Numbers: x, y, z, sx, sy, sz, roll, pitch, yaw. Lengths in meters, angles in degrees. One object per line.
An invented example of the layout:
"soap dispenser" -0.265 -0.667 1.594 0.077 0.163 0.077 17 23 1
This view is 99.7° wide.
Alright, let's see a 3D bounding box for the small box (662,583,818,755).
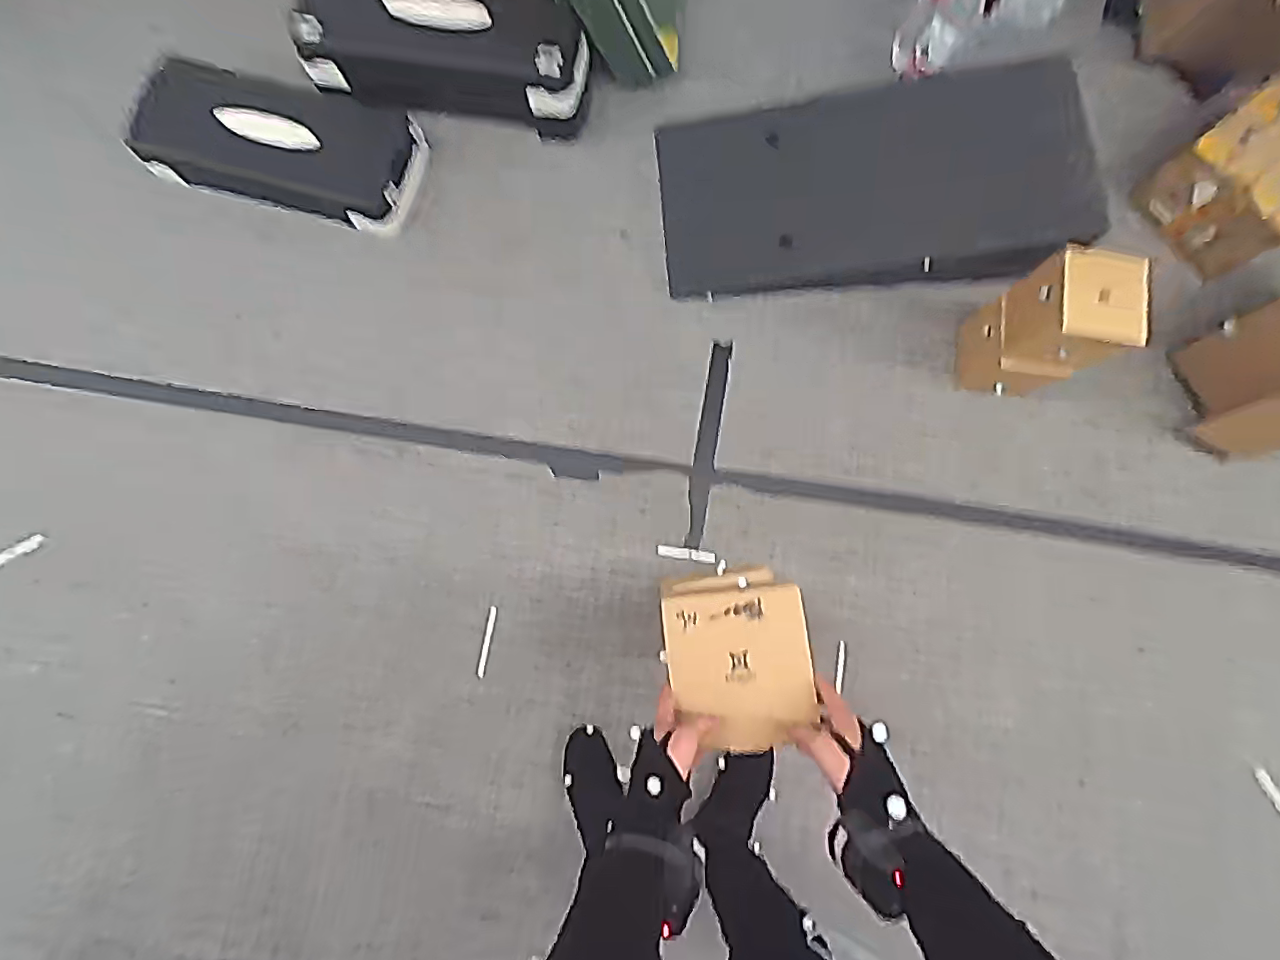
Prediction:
"small box" 0.122 0.233 0.703 0.168 0.176 0.179 -6 81 4
